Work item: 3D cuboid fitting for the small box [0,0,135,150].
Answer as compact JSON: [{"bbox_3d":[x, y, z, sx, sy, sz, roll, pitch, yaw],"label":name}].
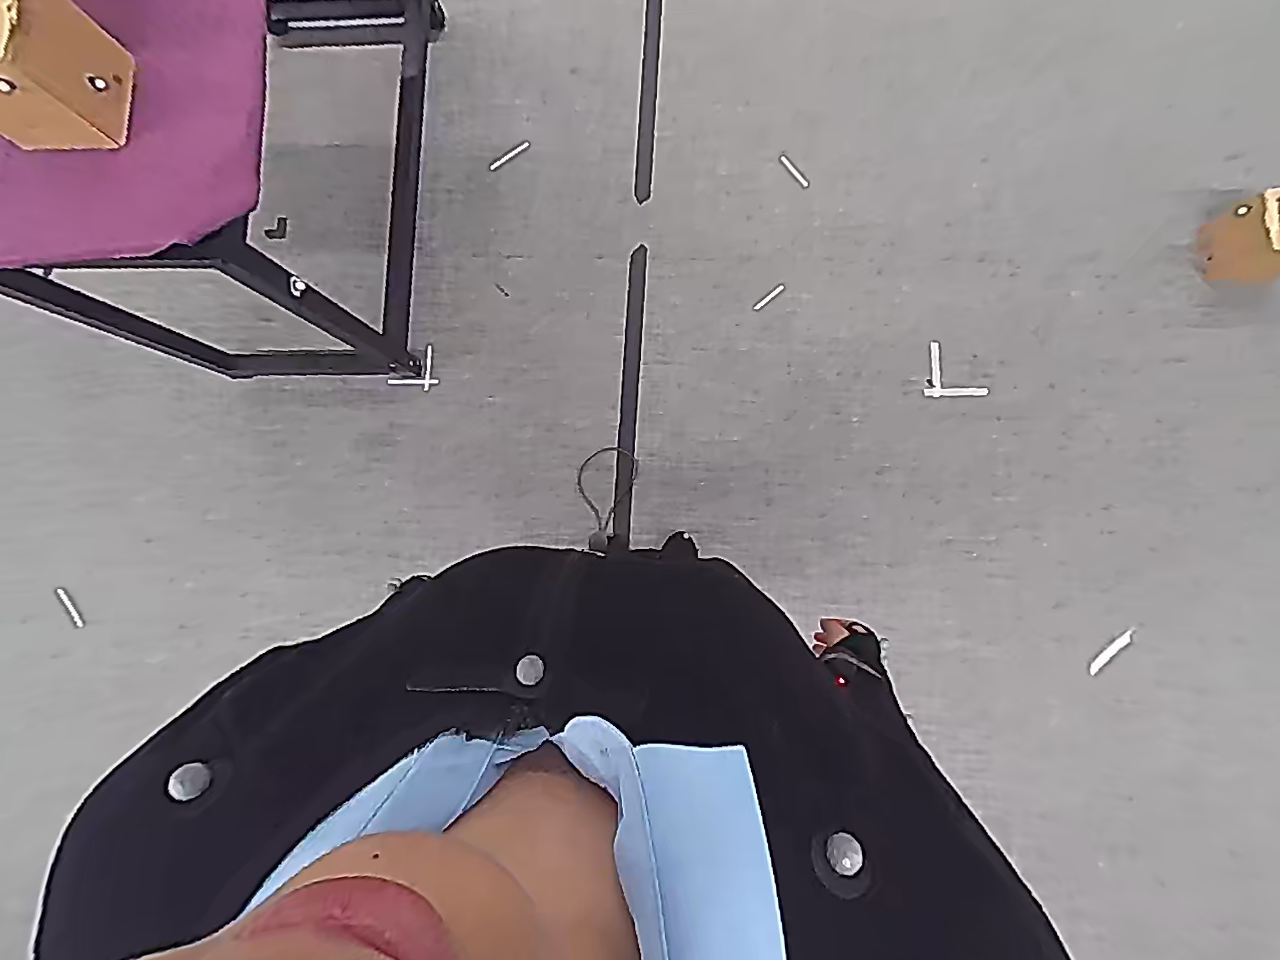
[{"bbox_3d":[-0.945,-0.637,0.828,0.179,0.176,0.168,0,83,2],"label":"small box"}]
